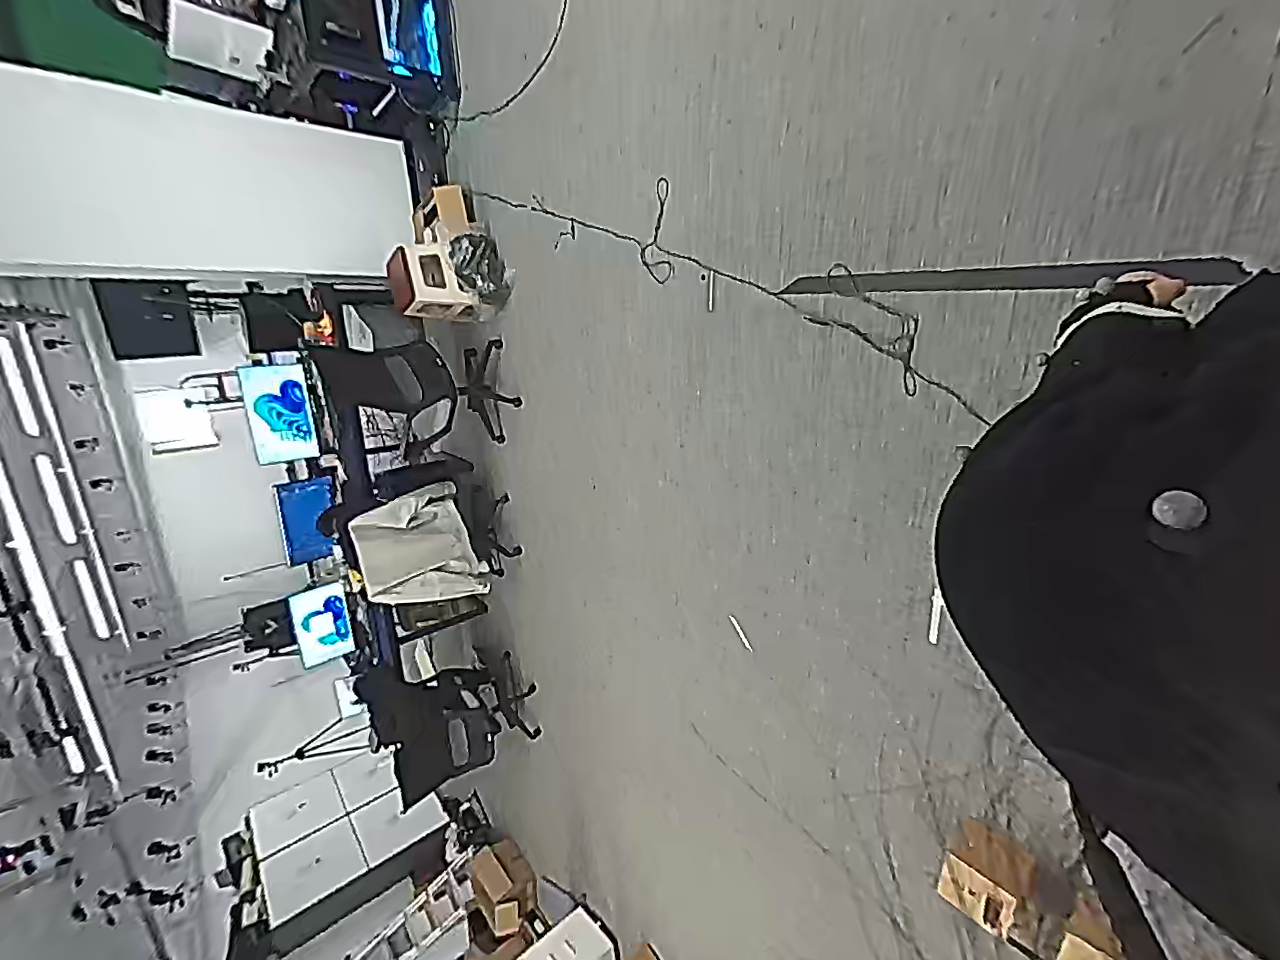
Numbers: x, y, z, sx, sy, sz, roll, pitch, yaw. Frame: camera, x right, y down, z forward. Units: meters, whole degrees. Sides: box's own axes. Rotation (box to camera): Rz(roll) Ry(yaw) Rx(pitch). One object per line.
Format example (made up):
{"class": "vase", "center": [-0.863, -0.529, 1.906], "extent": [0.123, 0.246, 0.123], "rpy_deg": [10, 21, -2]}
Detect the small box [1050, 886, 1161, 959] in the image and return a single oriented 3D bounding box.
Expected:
{"class": "small box", "center": [1.141, 1.166, 1.327], "extent": [0.168, 0.176, 0.179], "rpy_deg": [21, 118, 44]}
